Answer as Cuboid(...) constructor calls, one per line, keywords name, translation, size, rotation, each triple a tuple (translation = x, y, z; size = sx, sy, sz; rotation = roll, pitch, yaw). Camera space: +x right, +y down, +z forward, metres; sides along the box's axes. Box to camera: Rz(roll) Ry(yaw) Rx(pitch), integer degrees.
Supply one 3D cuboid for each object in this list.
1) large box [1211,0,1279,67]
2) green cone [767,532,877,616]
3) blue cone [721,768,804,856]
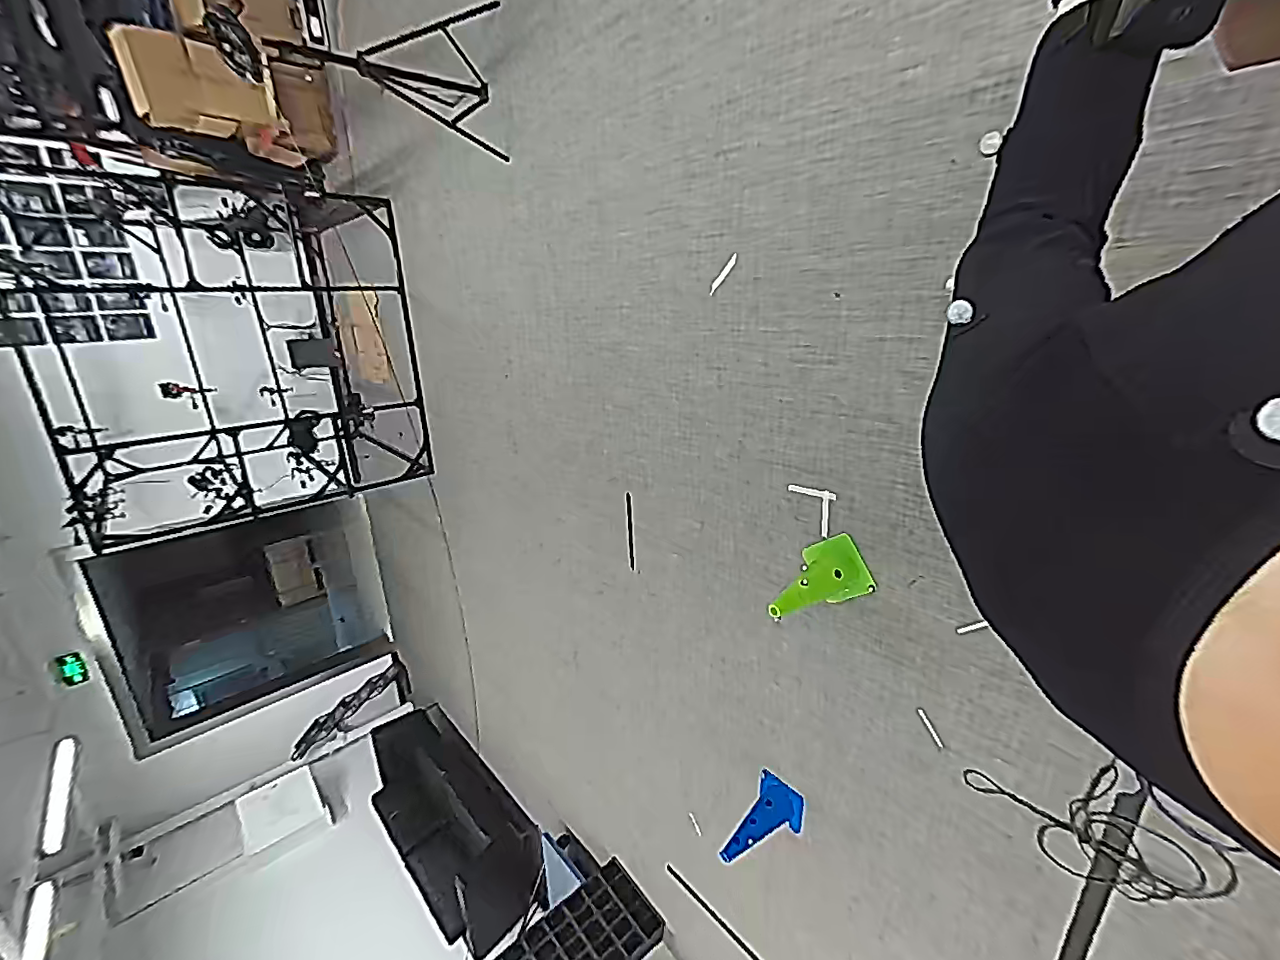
Cuboid(name="large box", translation=(0.560, -0.444, 0.224), size=(0.408, 0.320, 0.320), rotation=(17, 120, 44))
Cuboid(name="green cone", translation=(0.514, 0.320, 1.643), size=(0.202, 0.368, 0.200), rotation=(-39, 72, 51))
Cuboid(name="blue cone", translation=(0.464, 1.344, 2.122), size=(0.192, 0.380, 0.193), rotation=(23, 120, 45))
